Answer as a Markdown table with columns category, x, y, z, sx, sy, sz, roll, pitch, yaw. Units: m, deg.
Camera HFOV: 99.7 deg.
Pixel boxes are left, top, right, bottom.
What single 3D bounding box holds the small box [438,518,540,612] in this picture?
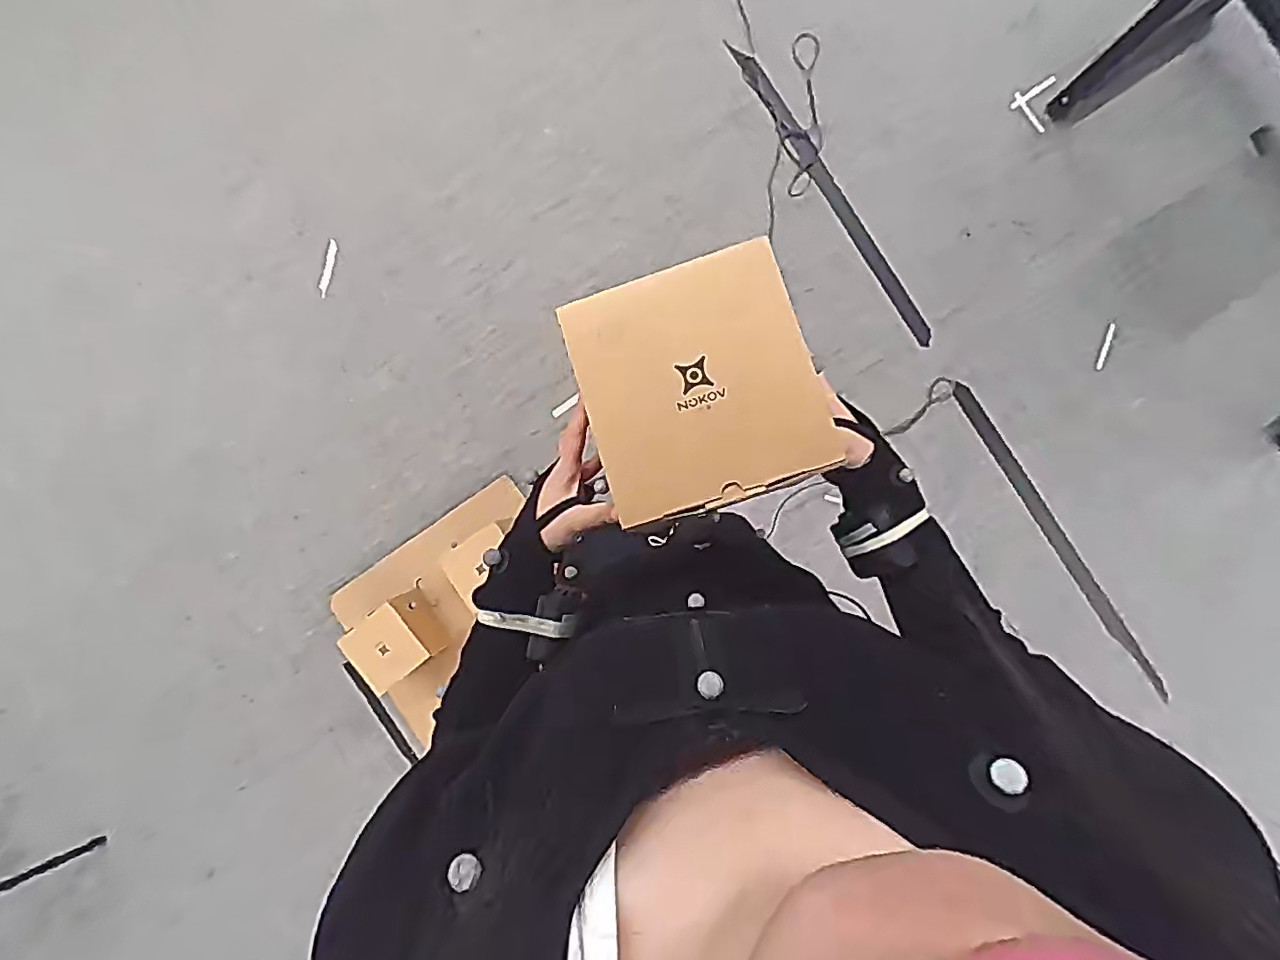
| category | x | y | z | sx | sy | sz | roll | pitch | yaw |
| --- | --- | --- | --- | --- | --- | --- | --- | --- | --- |
| small box | -0.383 | 0.214 | 1.404 | 0.179 | 0.176 | 0.168 | -34 | 90 | -2 |

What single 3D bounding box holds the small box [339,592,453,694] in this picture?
| category | x | y | z | sx | sy | sz | roll | pitch | yaw |
| --- | --- | --- | --- | --- | --- | --- | --- | --- | --- |
| small box | -0.622 | 0.409 | 1.399 | 0.168 | 0.176 | 0.179 | -39 | 89 | 0 |

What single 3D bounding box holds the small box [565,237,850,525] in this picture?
| category | x | y | z | sx | sy | sz | roll | pitch | yaw |
| --- | --- | --- | --- | --- | --- | --- | --- | --- | --- |
| small box | 0.050 | -0.065 | 0.464 | 0.168 | 0.176 | 0.179 | -18 | 85 | 3 |
